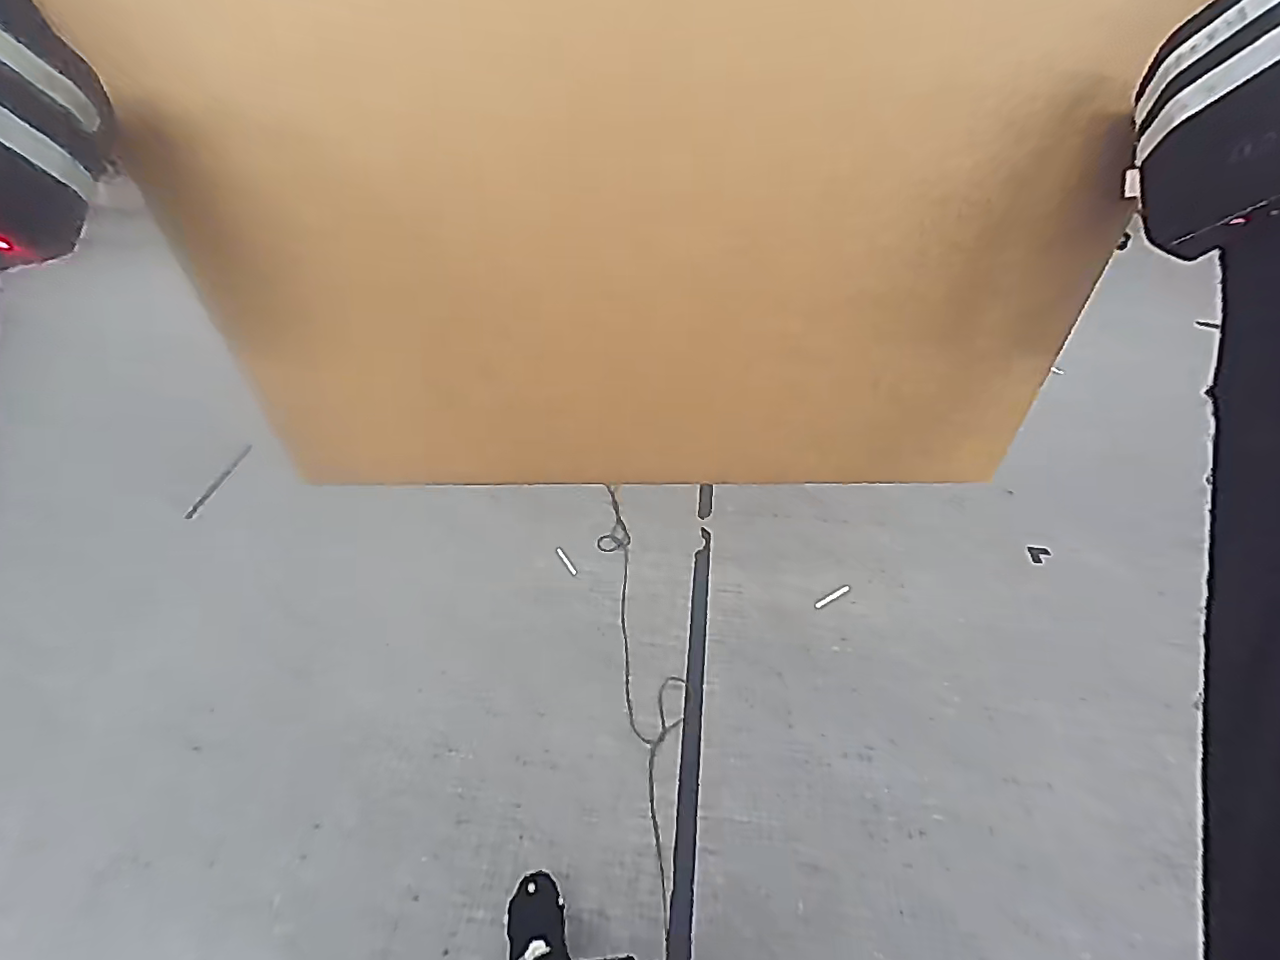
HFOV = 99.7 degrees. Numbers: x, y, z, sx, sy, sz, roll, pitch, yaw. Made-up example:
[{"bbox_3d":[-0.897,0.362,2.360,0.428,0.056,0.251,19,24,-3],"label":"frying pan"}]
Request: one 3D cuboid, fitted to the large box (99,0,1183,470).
[{"bbox_3d":[0.000,-0.216,0.349,0.408,0.320,0.320,0,40,0],"label":"large box"}]
